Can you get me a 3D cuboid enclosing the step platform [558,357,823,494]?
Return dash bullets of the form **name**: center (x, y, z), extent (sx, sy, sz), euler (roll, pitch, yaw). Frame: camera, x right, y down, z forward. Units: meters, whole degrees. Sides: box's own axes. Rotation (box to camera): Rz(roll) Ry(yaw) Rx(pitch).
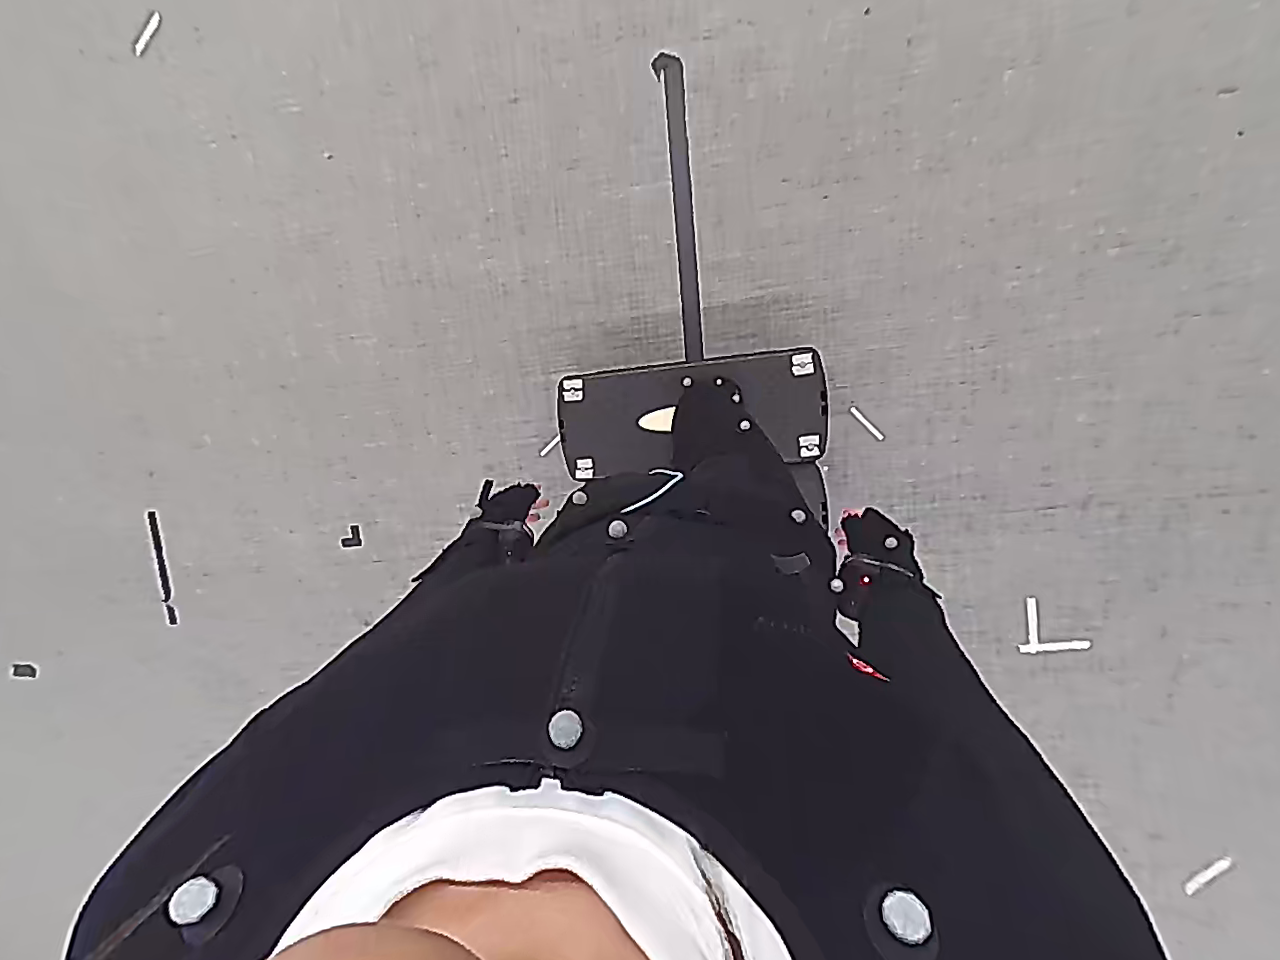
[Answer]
- **step platform**: center (0.126, -0.141, 1.433), extent (0.684, 0.204, 0.286), euler (-6, 98, 8)
